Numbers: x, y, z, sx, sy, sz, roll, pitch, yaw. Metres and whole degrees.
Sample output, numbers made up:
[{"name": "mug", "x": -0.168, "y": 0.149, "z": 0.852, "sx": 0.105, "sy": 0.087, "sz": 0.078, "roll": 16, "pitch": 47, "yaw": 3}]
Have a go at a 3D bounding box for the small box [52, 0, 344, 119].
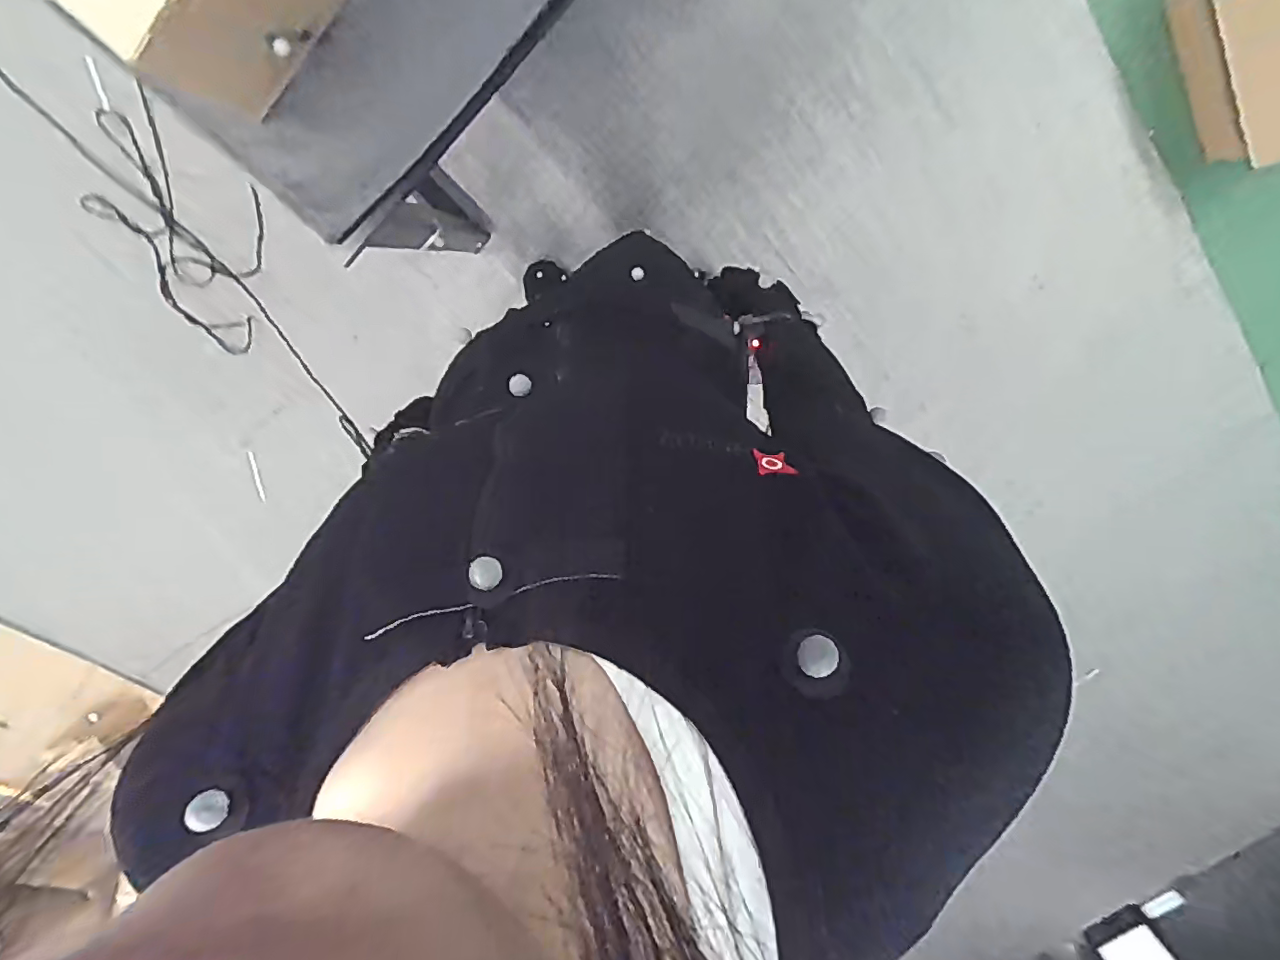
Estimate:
[{"name": "small box", "x": -0.396, "y": -0.449, "z": 0.449, "sx": 0.179, "sy": 0.176, "sz": 0.168, "roll": 42, "pitch": 102, "yaw": -16}]
